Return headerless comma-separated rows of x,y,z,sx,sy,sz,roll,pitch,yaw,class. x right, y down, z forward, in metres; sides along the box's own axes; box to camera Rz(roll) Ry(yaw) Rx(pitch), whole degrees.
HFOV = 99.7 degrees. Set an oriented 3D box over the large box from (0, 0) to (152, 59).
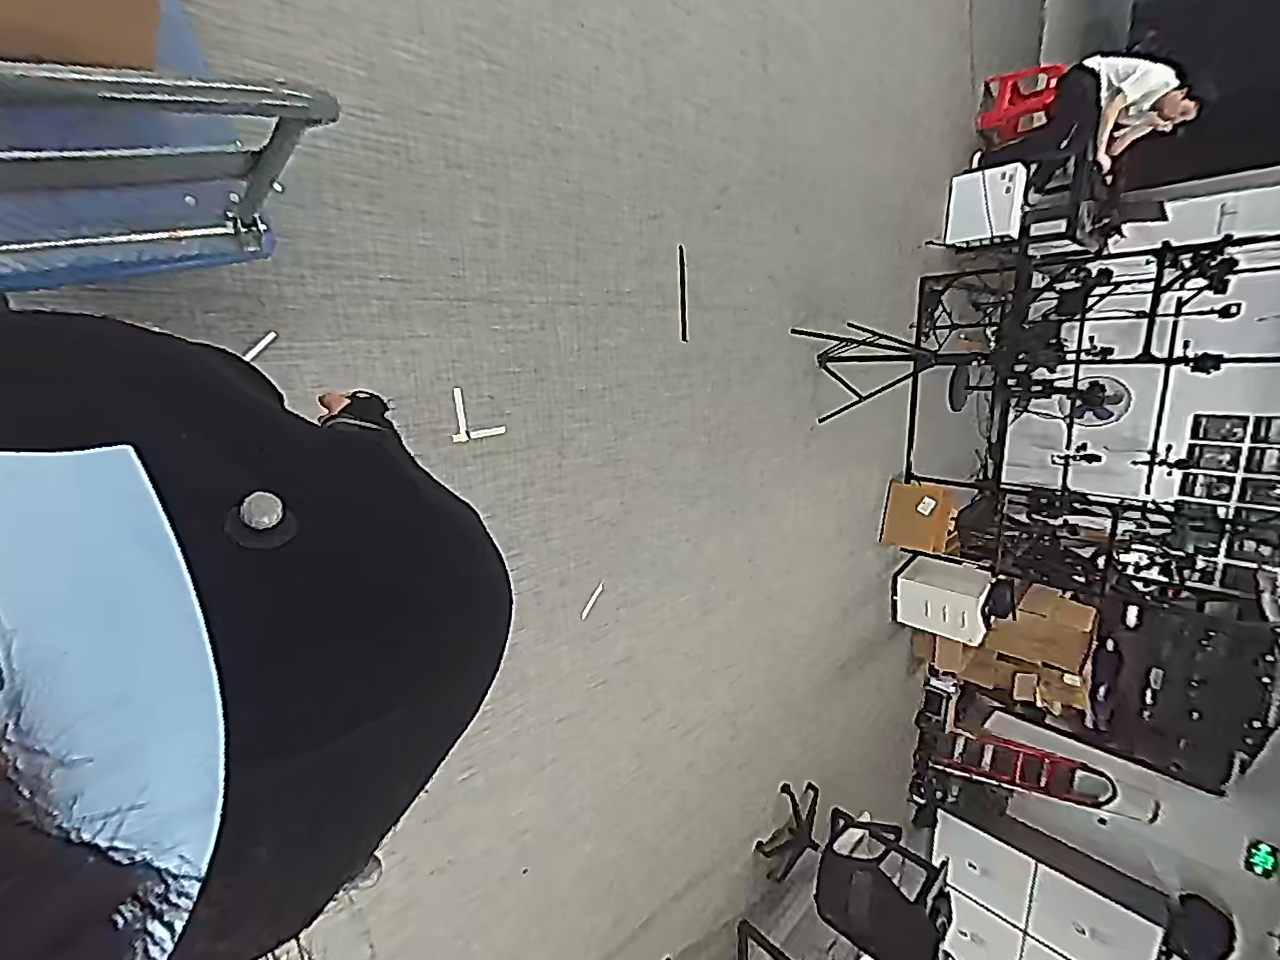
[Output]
-0.913,-0.763,0.653,0.408,0.320,0.320,-26,115,-37,large box
